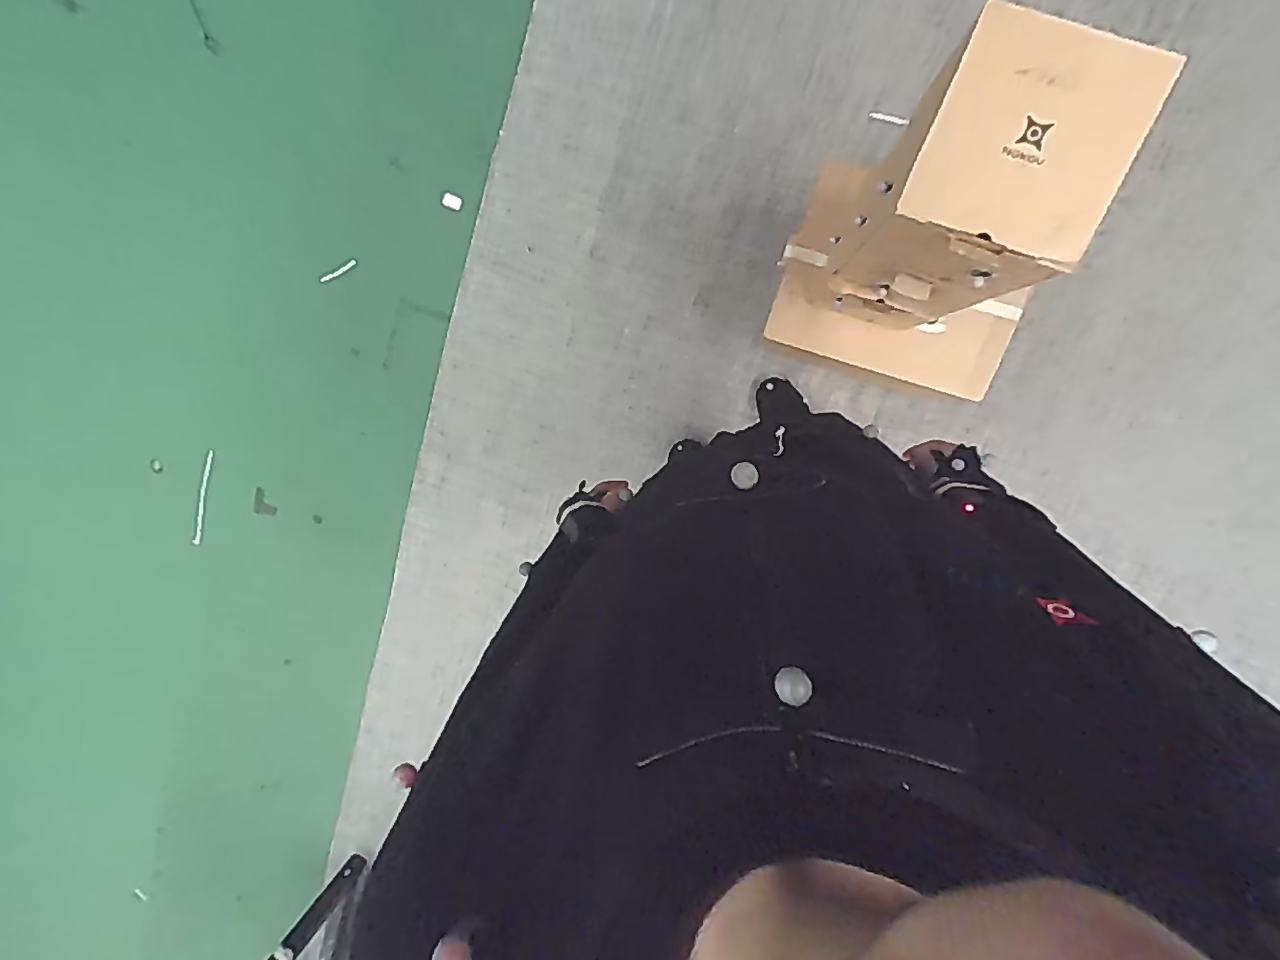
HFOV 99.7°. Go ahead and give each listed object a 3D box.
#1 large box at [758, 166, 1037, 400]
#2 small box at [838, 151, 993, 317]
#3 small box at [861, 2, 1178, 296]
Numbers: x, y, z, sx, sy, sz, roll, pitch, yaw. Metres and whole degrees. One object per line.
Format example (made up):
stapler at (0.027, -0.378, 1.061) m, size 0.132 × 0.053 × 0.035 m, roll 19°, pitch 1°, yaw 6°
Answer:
large box at (0.480, -0.367, 1.084) m, size 0.408 × 0.320 × 0.320 m, roll 18°, pitch 103°, yaw 5°
small box at (0.375, -0.328, 0.692) m, size 0.168 × 0.176 × 0.179 m, roll 24°, pitch 103°, yaw 5°
small box at (0.340, -0.300, 0.535) m, size 0.168 × 0.176 × 0.179 m, roll 22°, pitch 102°, yaw 4°
